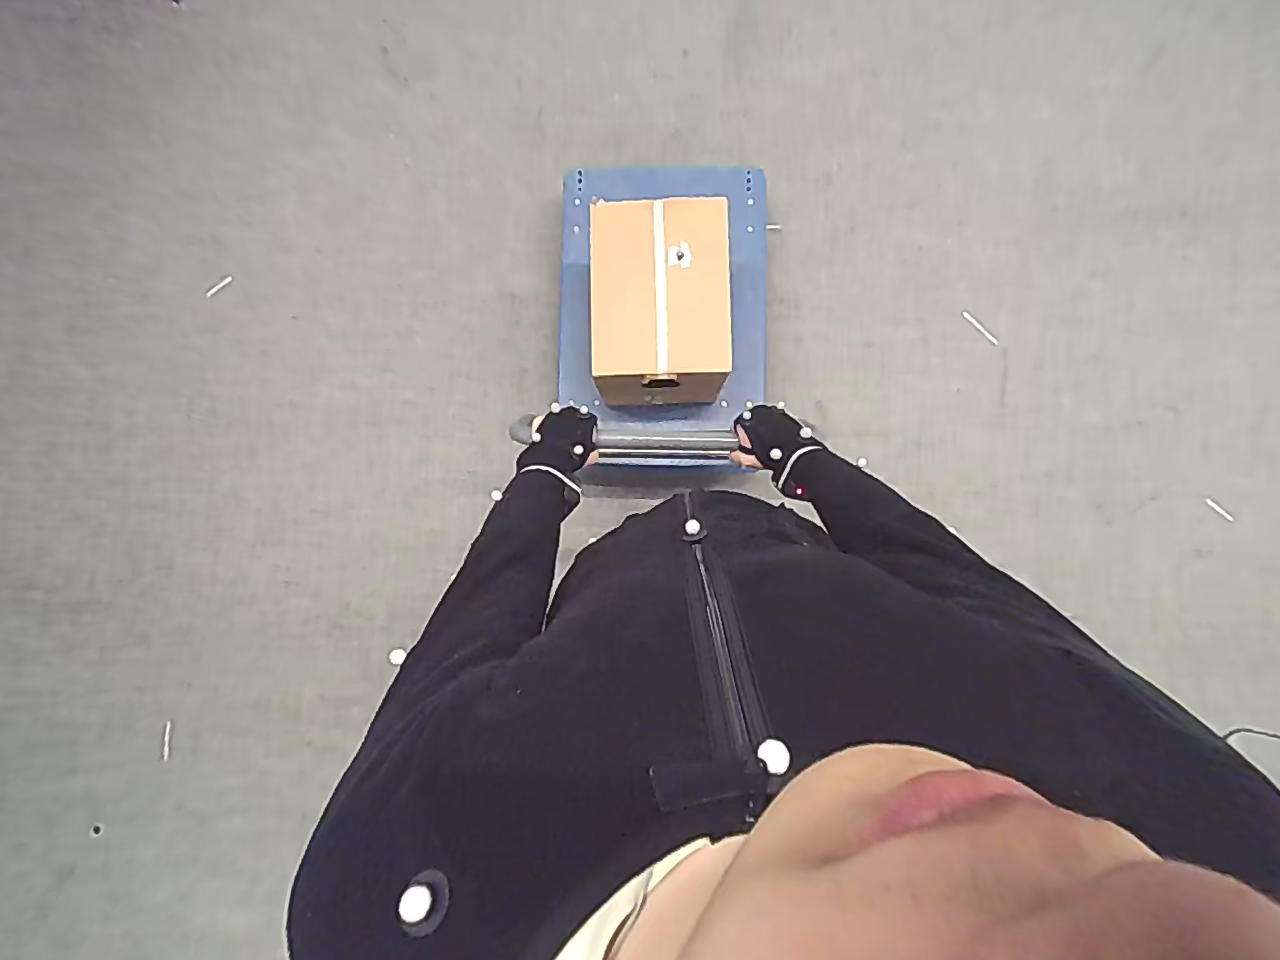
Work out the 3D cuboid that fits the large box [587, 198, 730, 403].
[{"bbox_3d":[0.046,-0.426,1.365,0.320,0.320,0.408,-1,86,2],"label":"large box"}]
